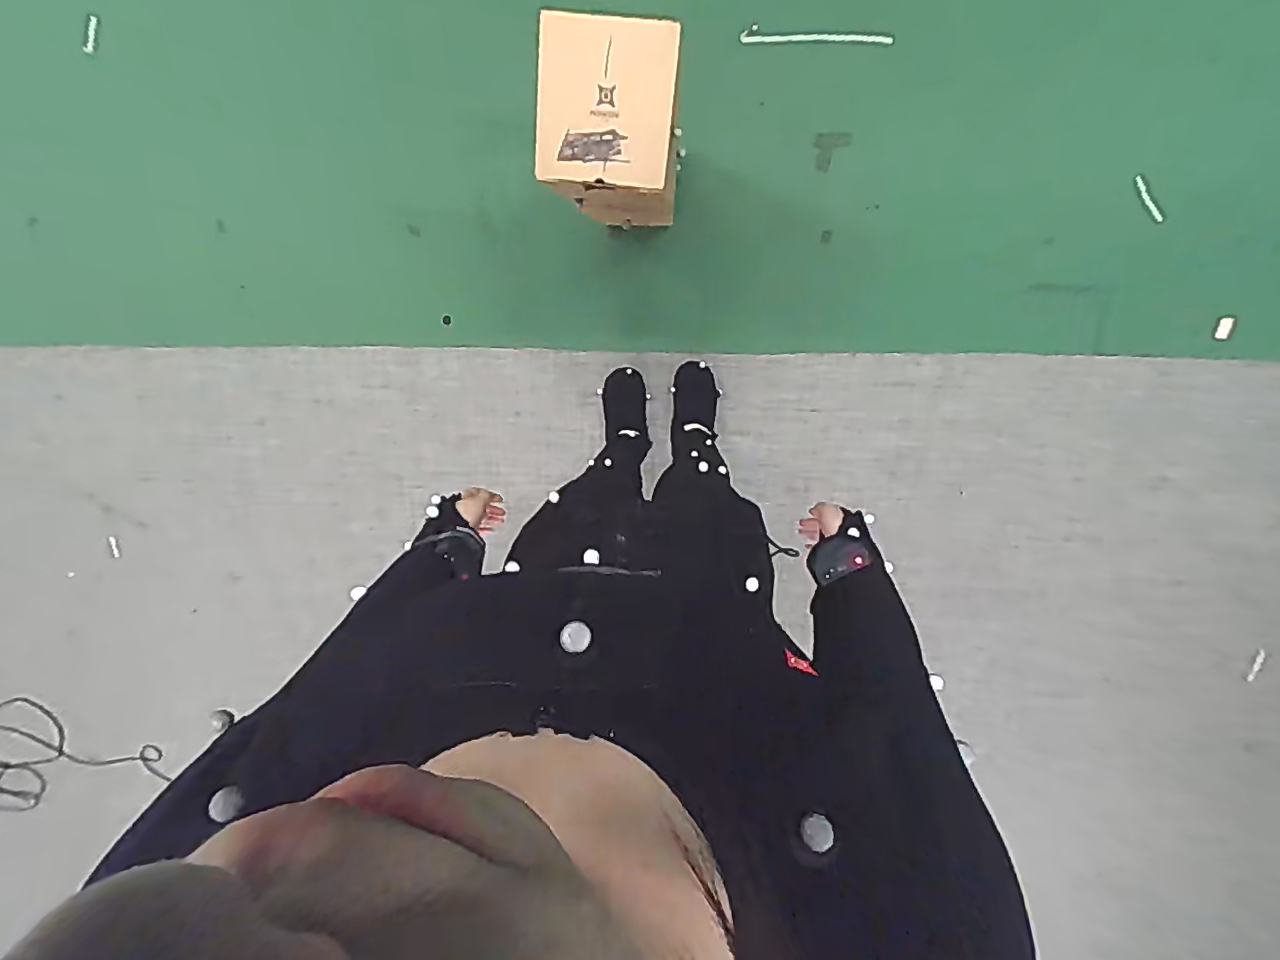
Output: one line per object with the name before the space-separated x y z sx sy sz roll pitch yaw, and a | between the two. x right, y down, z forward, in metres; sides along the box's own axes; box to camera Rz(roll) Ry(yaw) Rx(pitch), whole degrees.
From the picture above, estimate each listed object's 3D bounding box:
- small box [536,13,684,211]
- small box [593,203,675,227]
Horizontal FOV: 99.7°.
small box | -0.034 -0.468 0.717 0.168 0.176 0.179 7 110 2
small box | -0.007 -0.652 1.173 0.168 0.176 0.179 3 110 3
